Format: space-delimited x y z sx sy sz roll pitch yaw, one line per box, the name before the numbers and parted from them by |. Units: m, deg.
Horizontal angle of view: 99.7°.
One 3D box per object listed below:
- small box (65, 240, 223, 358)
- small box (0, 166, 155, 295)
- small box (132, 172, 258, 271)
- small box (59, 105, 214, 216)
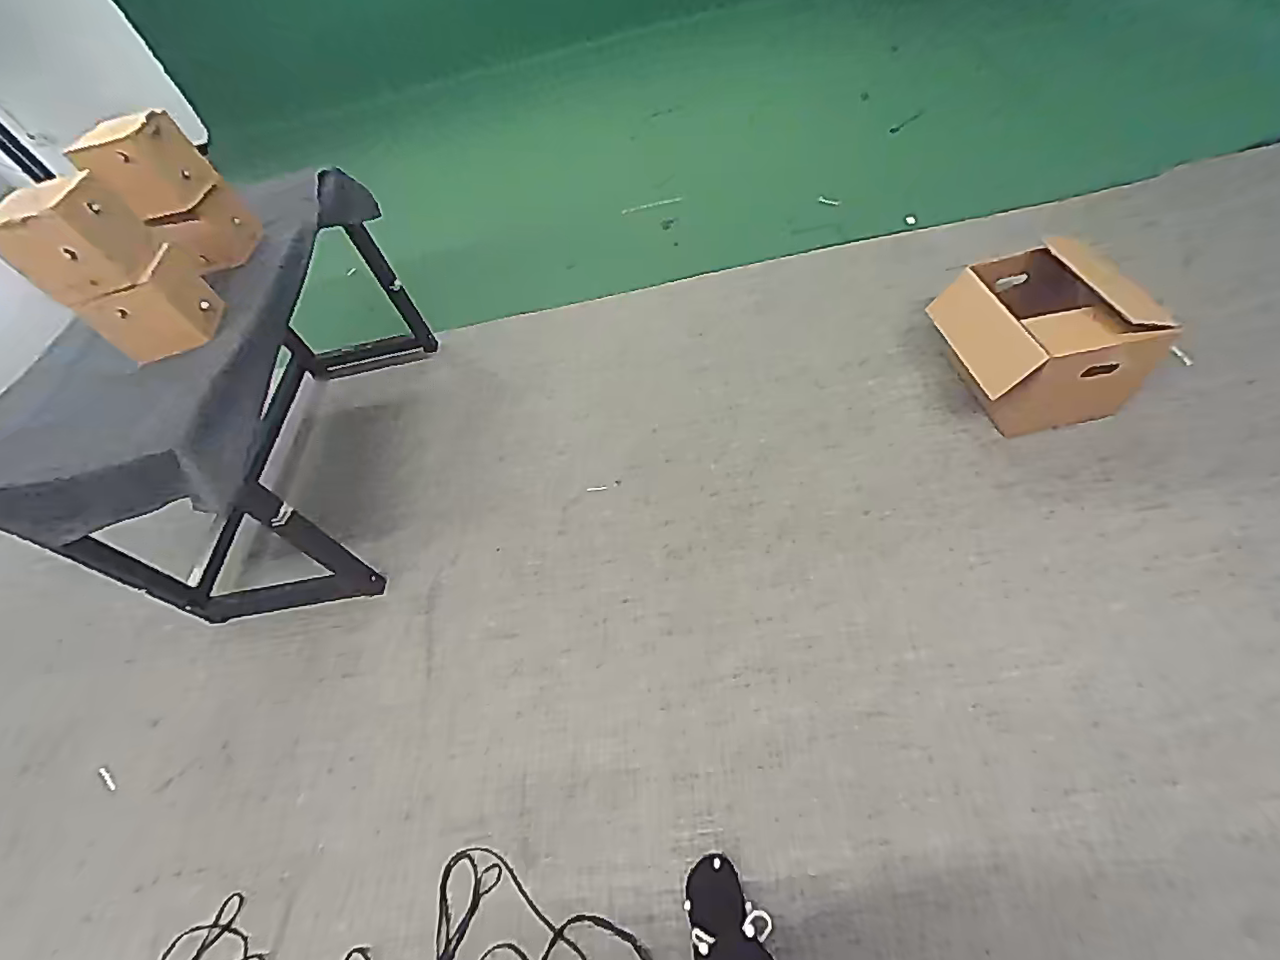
small box | -1.107 -0.403 1.223 0.179 0.176 0.168 -18 53 -1
small box | -1.152 -0.496 1.097 0.168 0.176 0.179 -14 52 1
small box | -1.174 -0.682 1.440 0.179 0.176 0.168 -9 54 6
small box | -1.190 -0.758 1.294 0.179 0.176 0.168 -7 54 8
